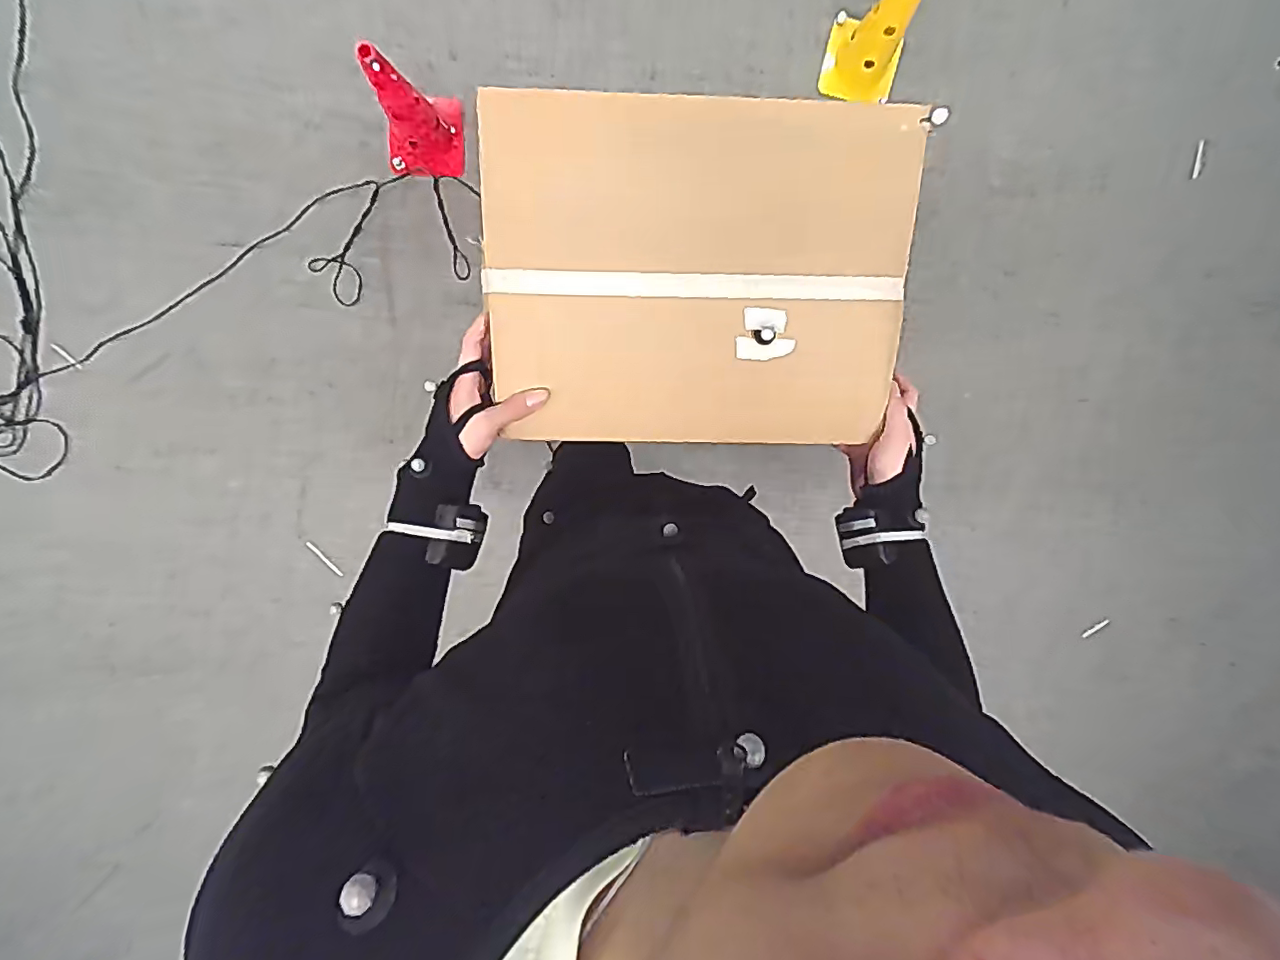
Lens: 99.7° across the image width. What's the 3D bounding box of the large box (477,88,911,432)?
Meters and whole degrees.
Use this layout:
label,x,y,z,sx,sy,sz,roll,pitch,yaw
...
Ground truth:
label,x,y,z,sx,sy,sz,roll,pitch,yaw
large box,0.044,-0.243,0.671,0.408,0.320,0.320,0,107,-3
